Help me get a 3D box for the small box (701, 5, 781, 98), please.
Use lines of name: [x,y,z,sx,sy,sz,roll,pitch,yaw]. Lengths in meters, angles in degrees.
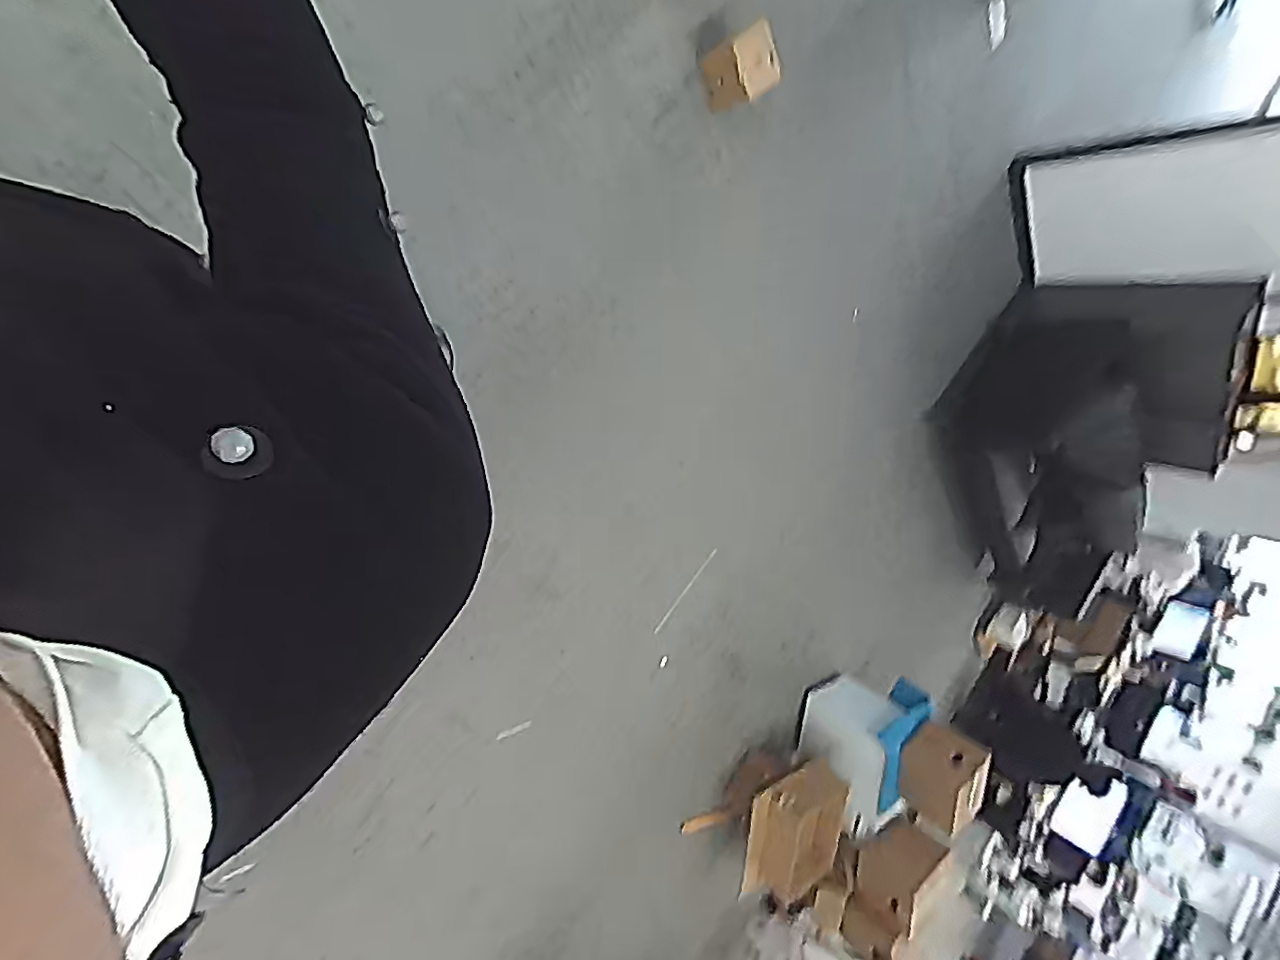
small box: [0.322,-1.391,1.769,0.179,0.176,0.168,-45,128,-15]
